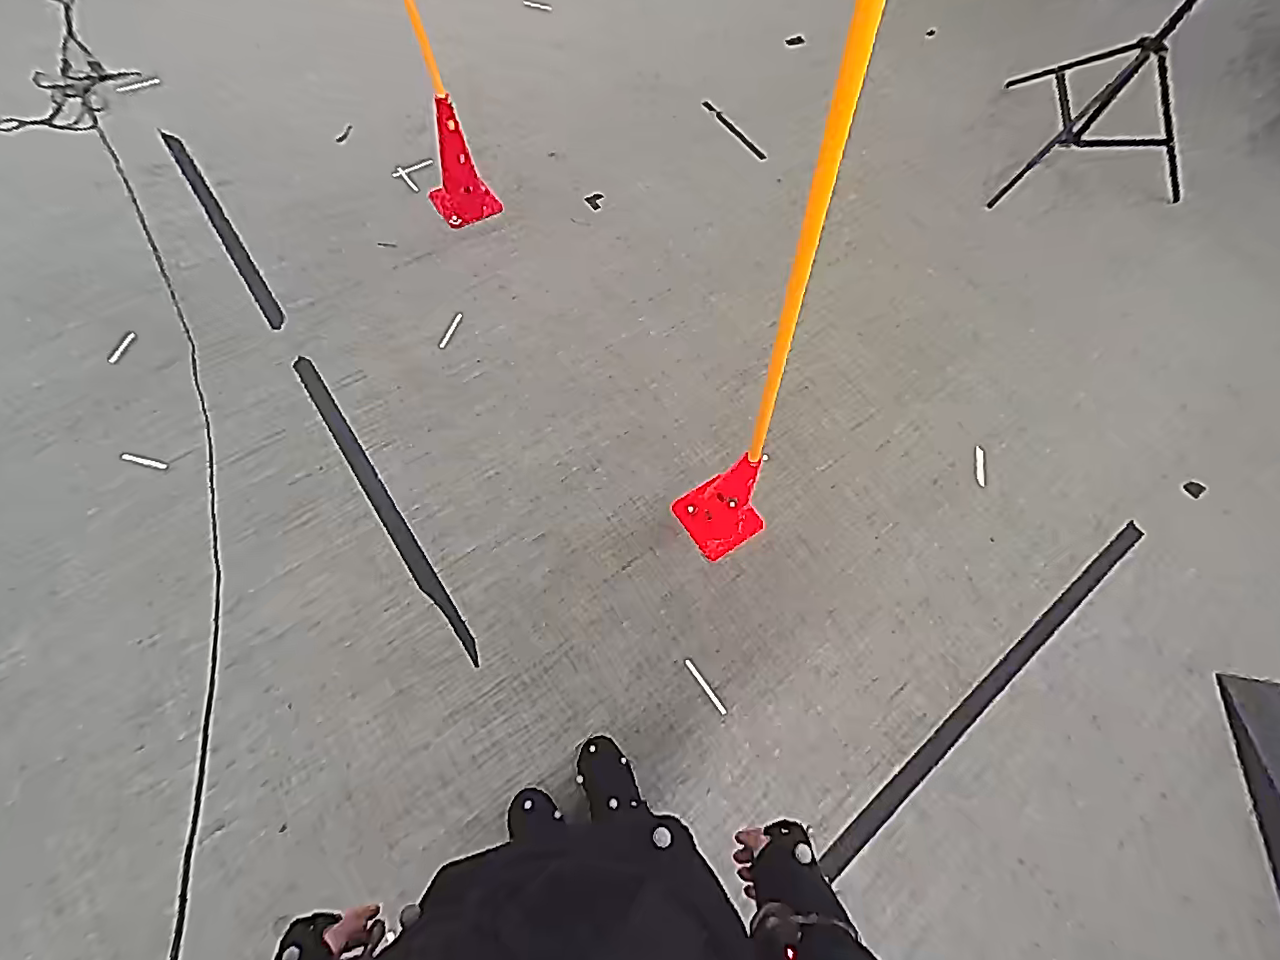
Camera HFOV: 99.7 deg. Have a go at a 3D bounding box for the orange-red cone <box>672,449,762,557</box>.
[{"bbox_3d":[0.226,0.020,1.321,0.198,0.360,0.199,-30,72,-17],"label":"orange-red cone"}]
